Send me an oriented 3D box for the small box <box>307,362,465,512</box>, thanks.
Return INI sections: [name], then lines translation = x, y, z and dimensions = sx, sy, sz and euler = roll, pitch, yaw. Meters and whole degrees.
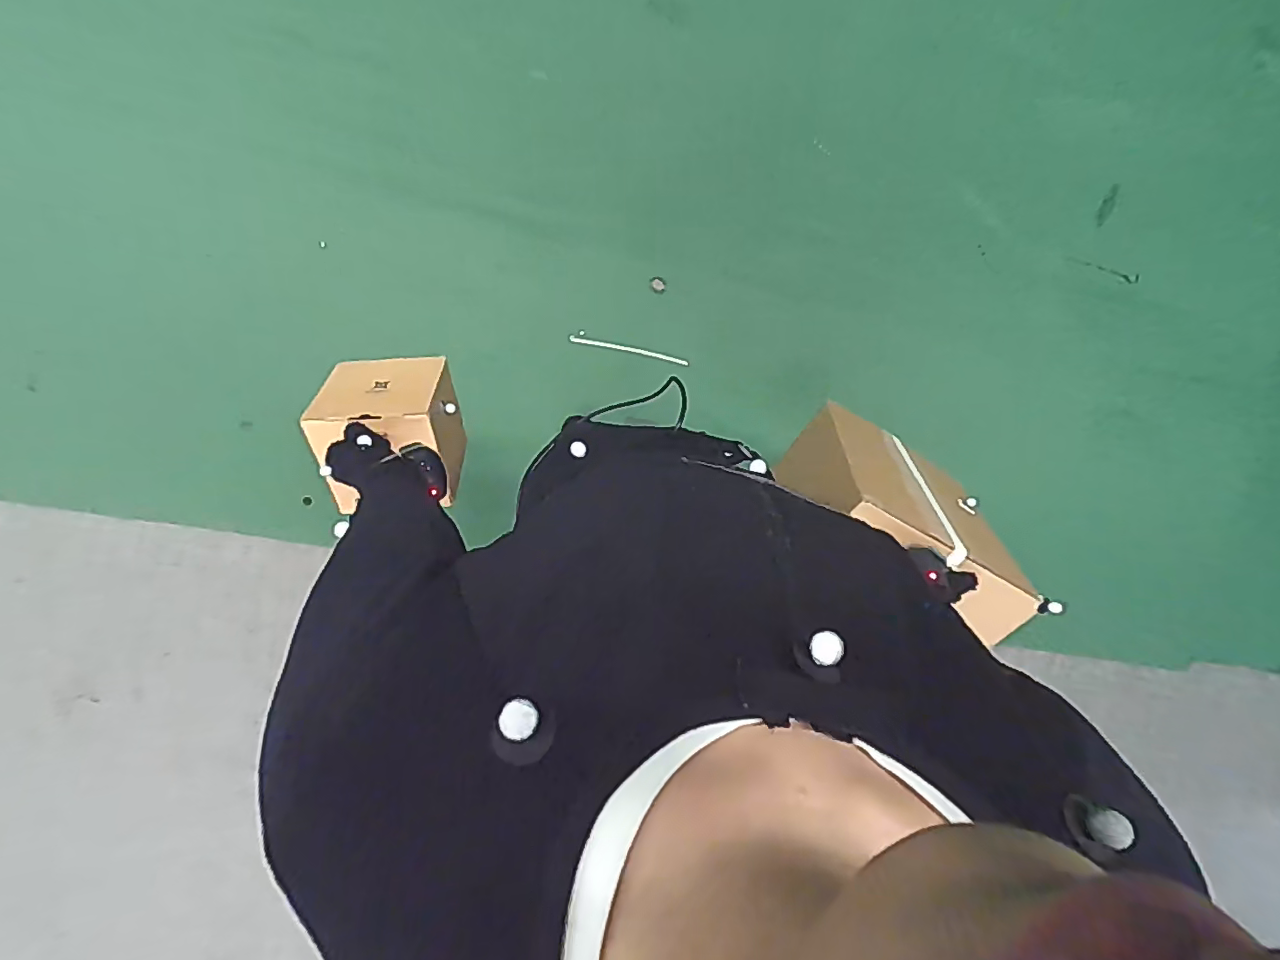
[small box]
translation = -0.377, -0.070, 0.843
dimensions = 0.168, 0.179, 0.176
euler = -3, 129, -6
